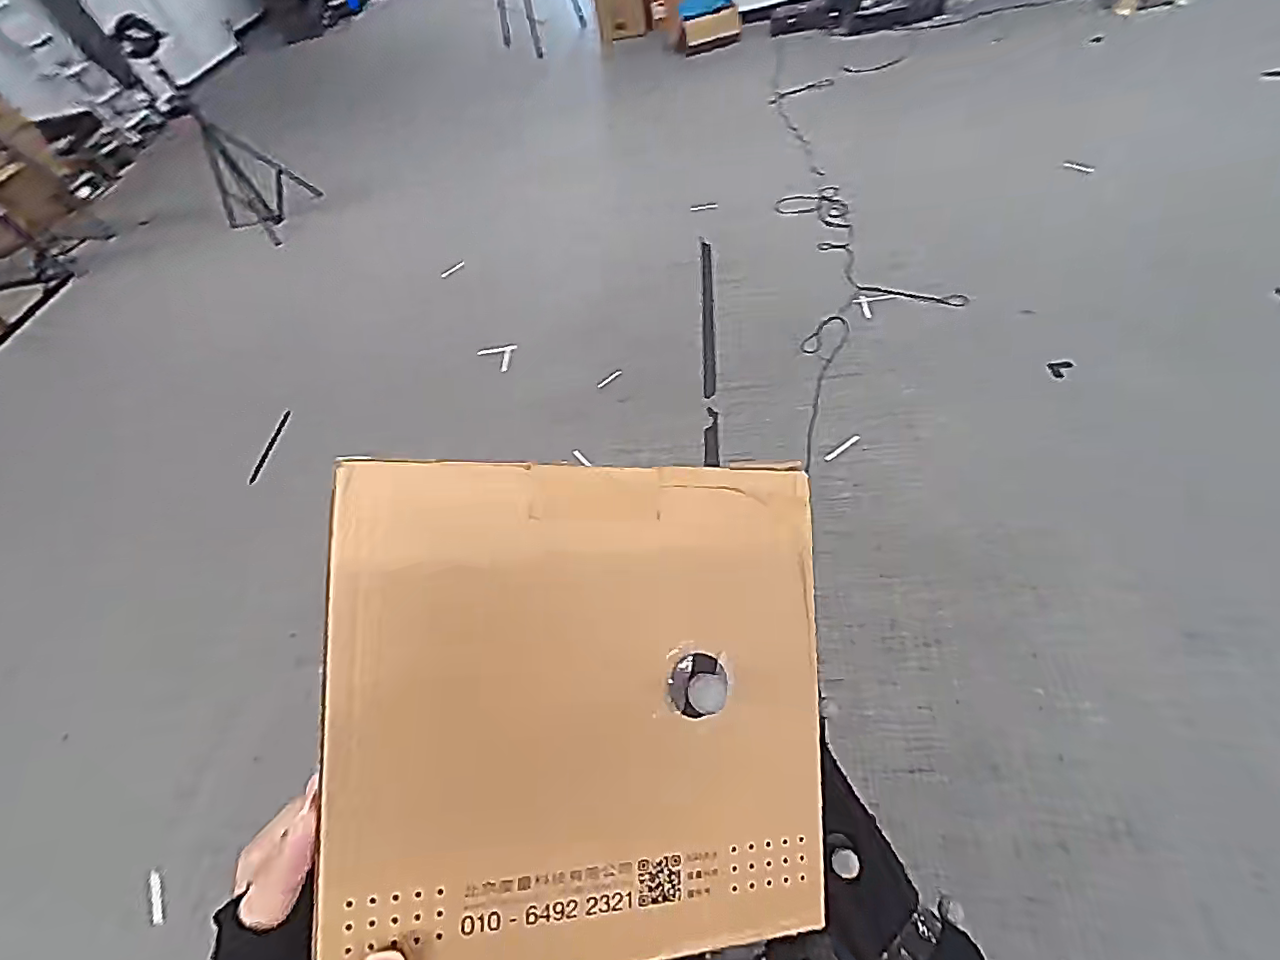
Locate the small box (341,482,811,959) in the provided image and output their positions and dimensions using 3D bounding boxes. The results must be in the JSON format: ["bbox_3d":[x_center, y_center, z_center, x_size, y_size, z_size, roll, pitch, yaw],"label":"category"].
[{"bbox_3d":[-0.028,0.089,0.264,0.168,0.179,0.176,1,86,-10],"label":"small box"}]
